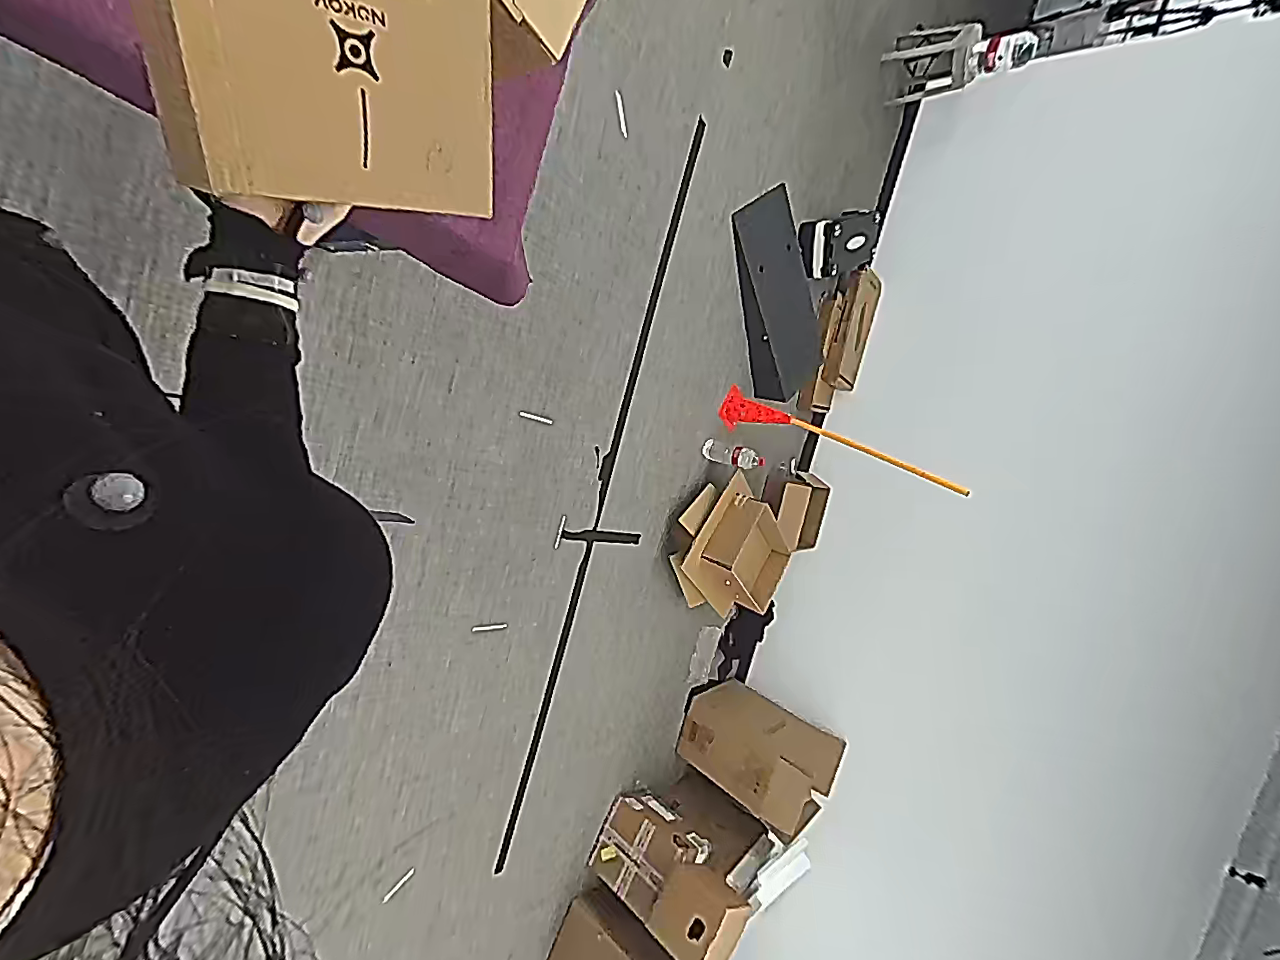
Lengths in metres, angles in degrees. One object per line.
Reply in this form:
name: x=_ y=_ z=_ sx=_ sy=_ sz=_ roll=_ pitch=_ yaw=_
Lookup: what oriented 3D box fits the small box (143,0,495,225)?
small box: x=-0.213 y=-0.279 z=0.363 sx=0.168 sy=0.176 sz=0.179 roll=-17 pitch=124 yaw=-40
